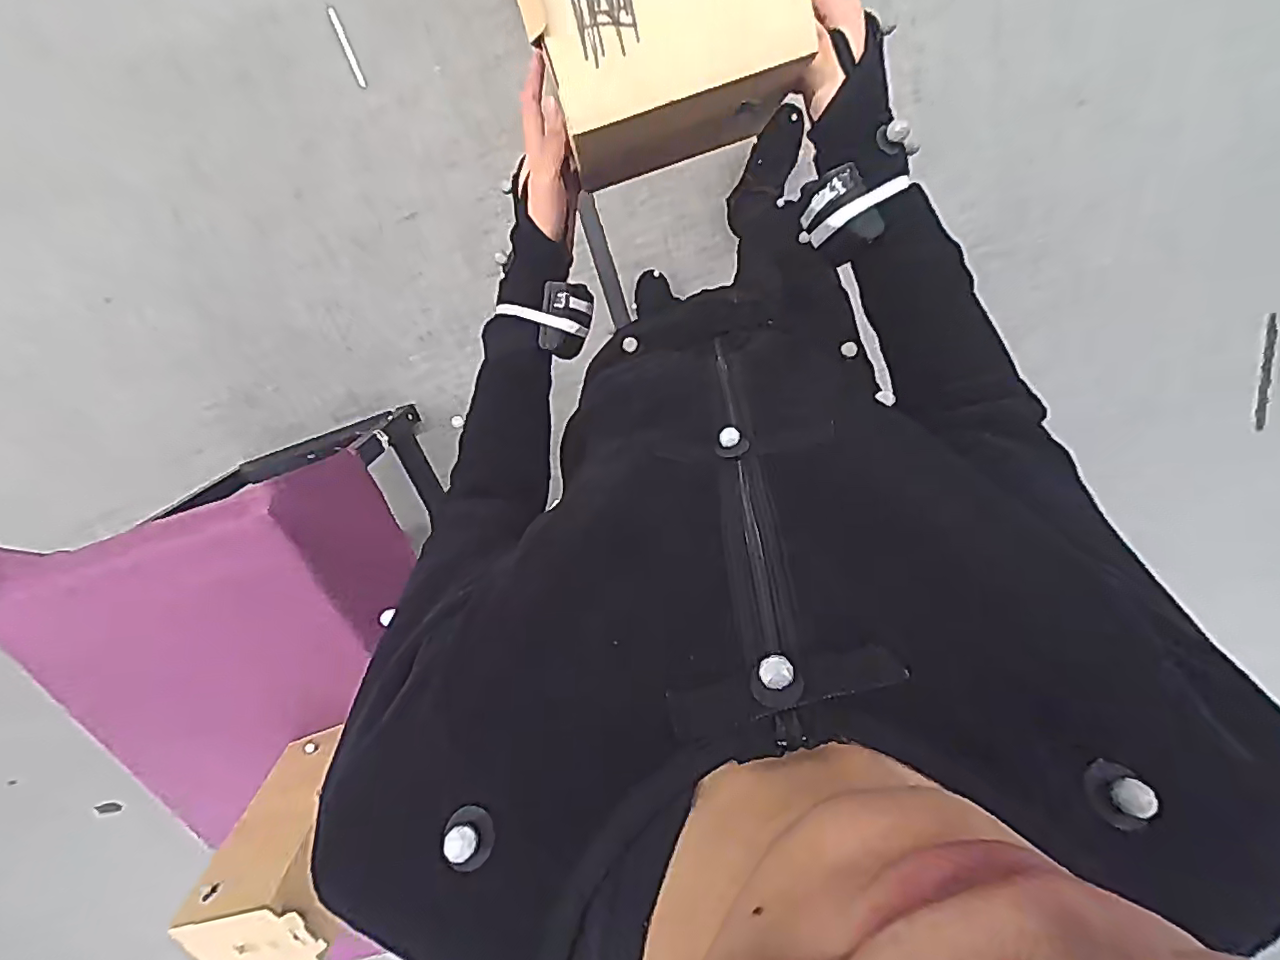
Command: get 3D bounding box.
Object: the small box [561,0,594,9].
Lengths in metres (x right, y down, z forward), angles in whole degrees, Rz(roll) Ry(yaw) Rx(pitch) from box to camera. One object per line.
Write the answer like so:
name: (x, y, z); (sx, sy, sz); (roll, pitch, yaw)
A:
small box: (-0.117, -1.119, 1.111); (0.168, 0.176, 0.179); (-21, 113, 6)

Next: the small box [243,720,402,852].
small box: (-0.600, 0.608, 1.051); (0.168, 0.176, 0.179); (-22, 112, 7)

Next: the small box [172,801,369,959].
small box: (-0.597, 0.677, 0.901); (0.179, 0.176, 0.168); (-16, 114, 5)
